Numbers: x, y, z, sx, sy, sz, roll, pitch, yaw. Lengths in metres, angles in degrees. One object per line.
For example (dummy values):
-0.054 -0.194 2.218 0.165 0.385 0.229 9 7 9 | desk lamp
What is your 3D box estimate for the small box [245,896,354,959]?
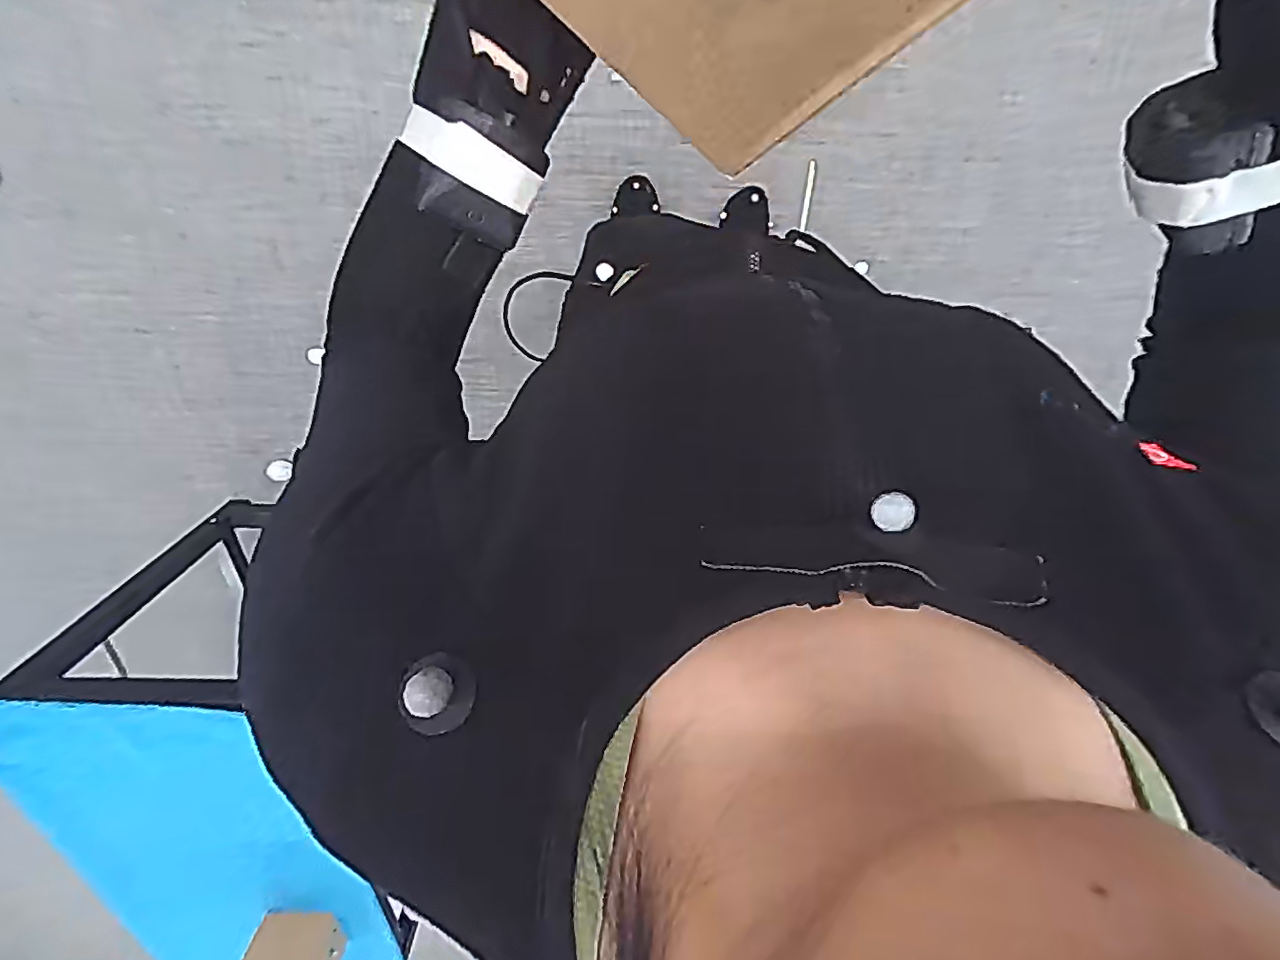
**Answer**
-0.871 1.201 1.388 0.179 0.176 0.168 2 121 -3 | small box
